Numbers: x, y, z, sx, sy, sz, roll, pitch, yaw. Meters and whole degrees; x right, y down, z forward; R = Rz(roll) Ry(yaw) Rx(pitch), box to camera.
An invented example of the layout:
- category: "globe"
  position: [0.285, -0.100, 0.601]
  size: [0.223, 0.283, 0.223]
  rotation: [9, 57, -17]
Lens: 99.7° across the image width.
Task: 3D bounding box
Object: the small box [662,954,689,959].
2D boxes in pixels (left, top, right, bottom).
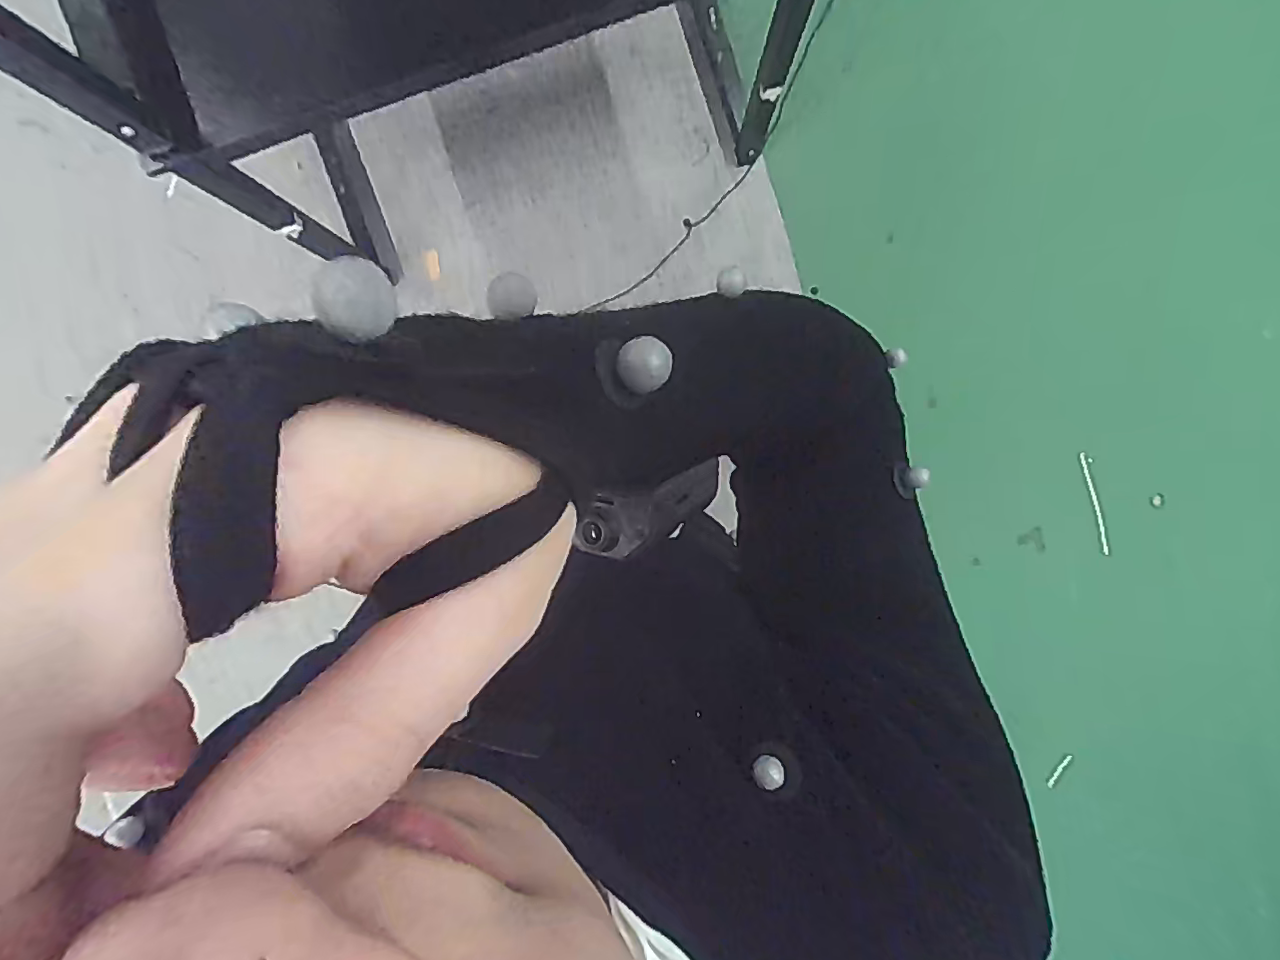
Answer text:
- category: "small box"
  position: [0.093, 1.542, 1.563]
  size: [0.168, 0.176, 0.179]
  rotation: [-16, 92, 0]
